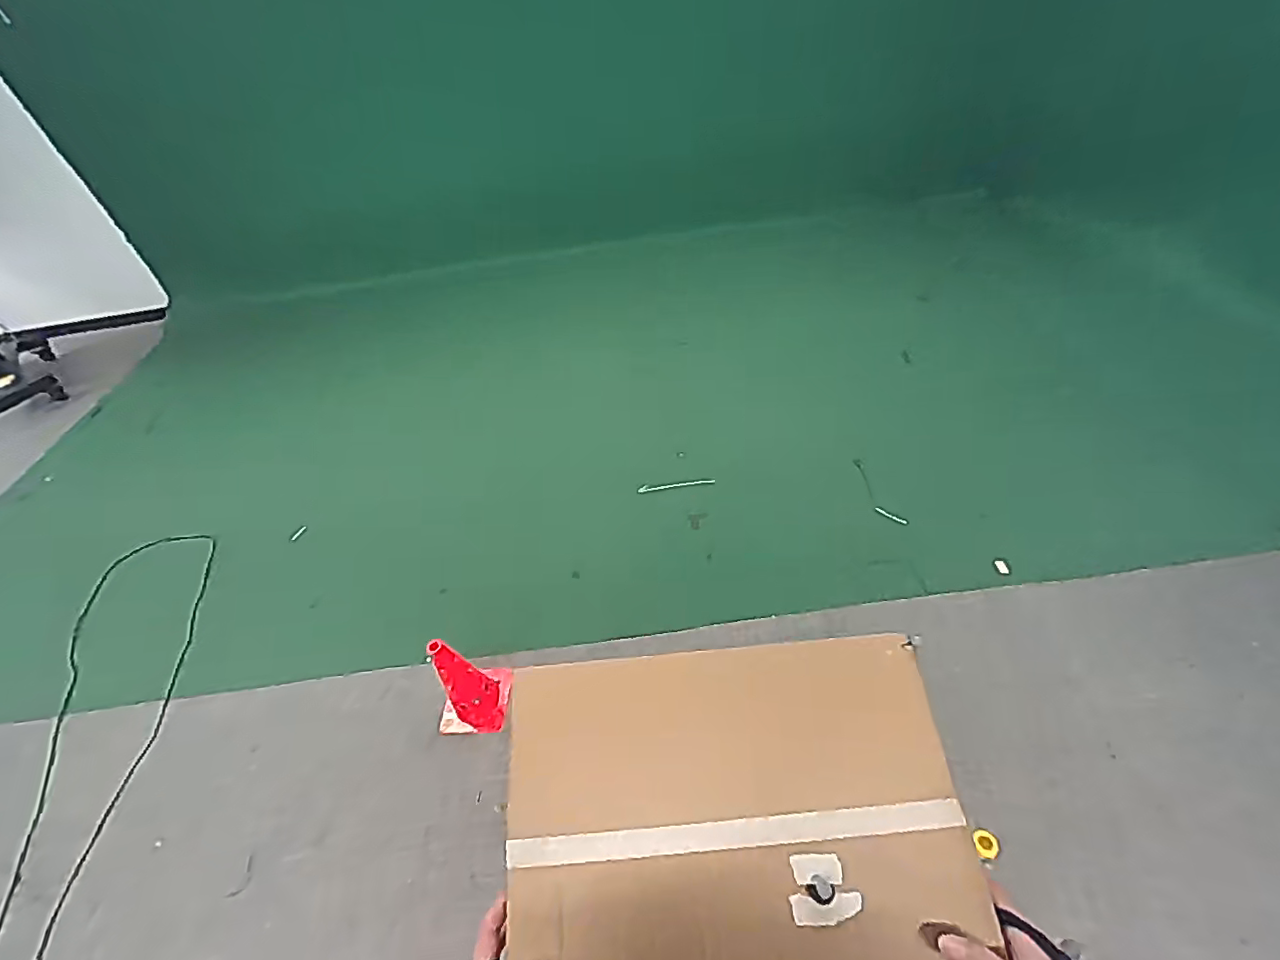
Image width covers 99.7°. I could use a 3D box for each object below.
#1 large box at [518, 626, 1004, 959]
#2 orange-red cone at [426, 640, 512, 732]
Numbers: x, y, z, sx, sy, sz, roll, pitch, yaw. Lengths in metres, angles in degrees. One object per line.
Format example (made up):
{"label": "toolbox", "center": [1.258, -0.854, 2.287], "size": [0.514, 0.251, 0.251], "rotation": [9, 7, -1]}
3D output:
{"label": "large box", "center": [0.093, 0.378, 0.624], "size": [0.408, 0.320, 0.320], "rotation": [-6, 64, 0]}
{"label": "orange-red cone", "center": [-0.533, 0.568, 1.568], "size": [0.199, 0.360, 0.198], "rotation": [-4, 45, 8]}
